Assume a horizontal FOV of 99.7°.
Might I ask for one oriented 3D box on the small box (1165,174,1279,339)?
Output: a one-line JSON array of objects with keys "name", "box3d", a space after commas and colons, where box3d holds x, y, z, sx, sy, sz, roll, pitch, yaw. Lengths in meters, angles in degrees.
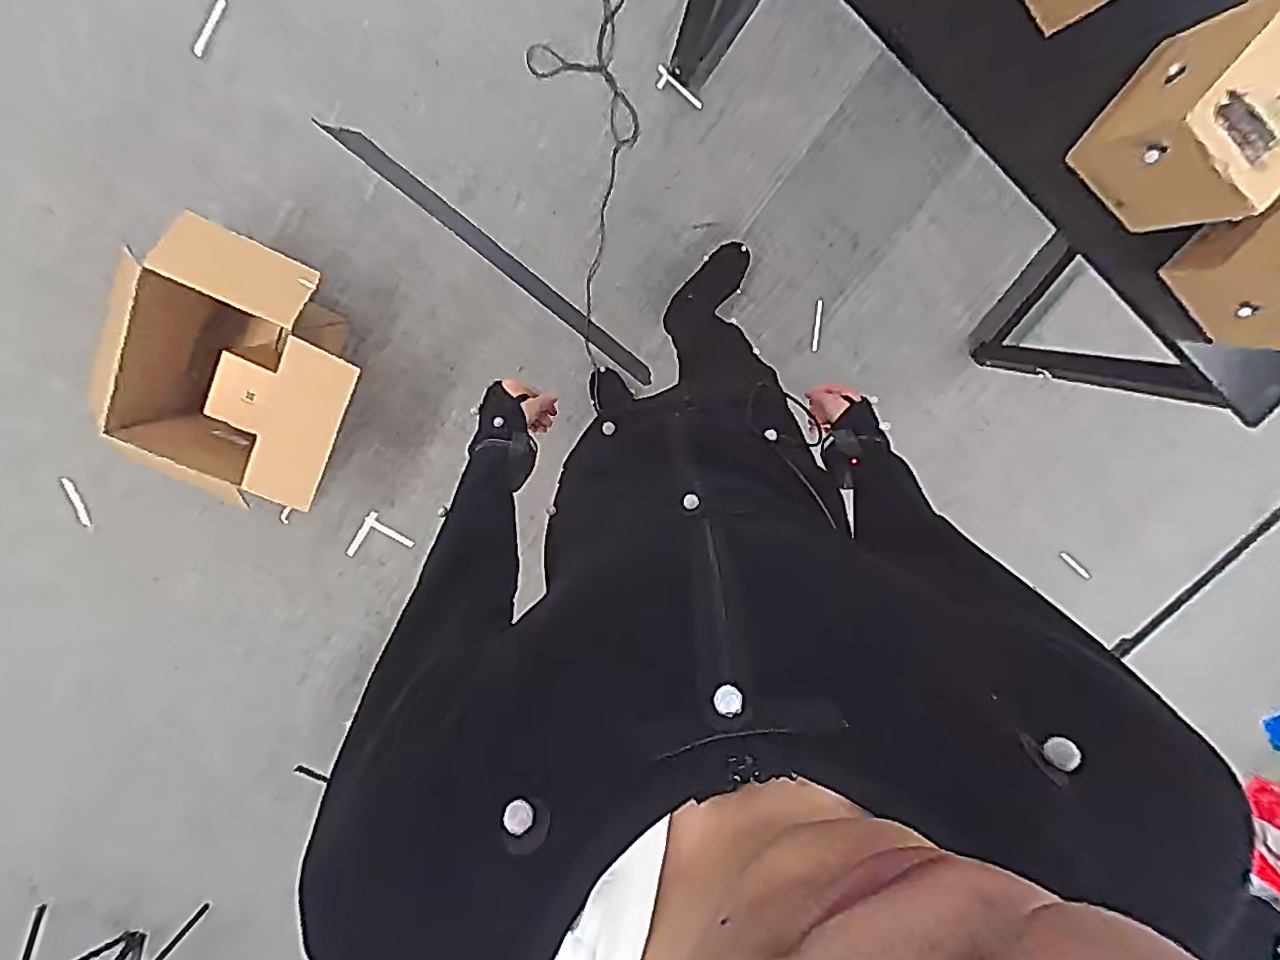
[{"name": "small box", "box3d": [0.908, -0.310, 0.744, 0.179, 0.176, 0.168, 37, 102, -13]}]
